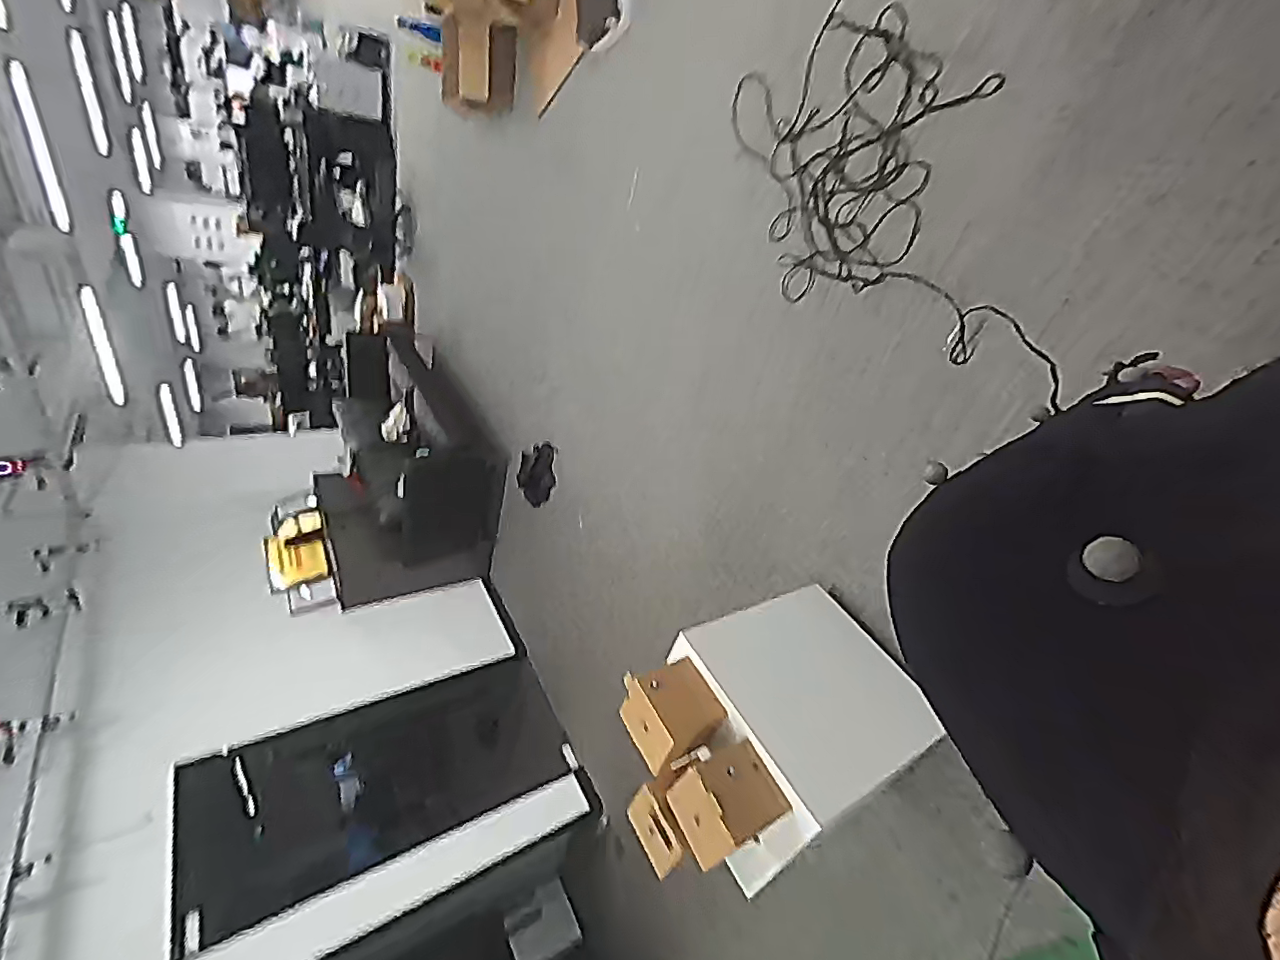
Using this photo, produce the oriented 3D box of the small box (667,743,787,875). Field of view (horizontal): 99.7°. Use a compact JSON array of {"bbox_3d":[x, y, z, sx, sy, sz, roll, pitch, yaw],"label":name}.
[{"bbox_3d":[0.192,0.710,1.178,0.168,0.176,0.179,55,139,36],"label":"small box"}]
